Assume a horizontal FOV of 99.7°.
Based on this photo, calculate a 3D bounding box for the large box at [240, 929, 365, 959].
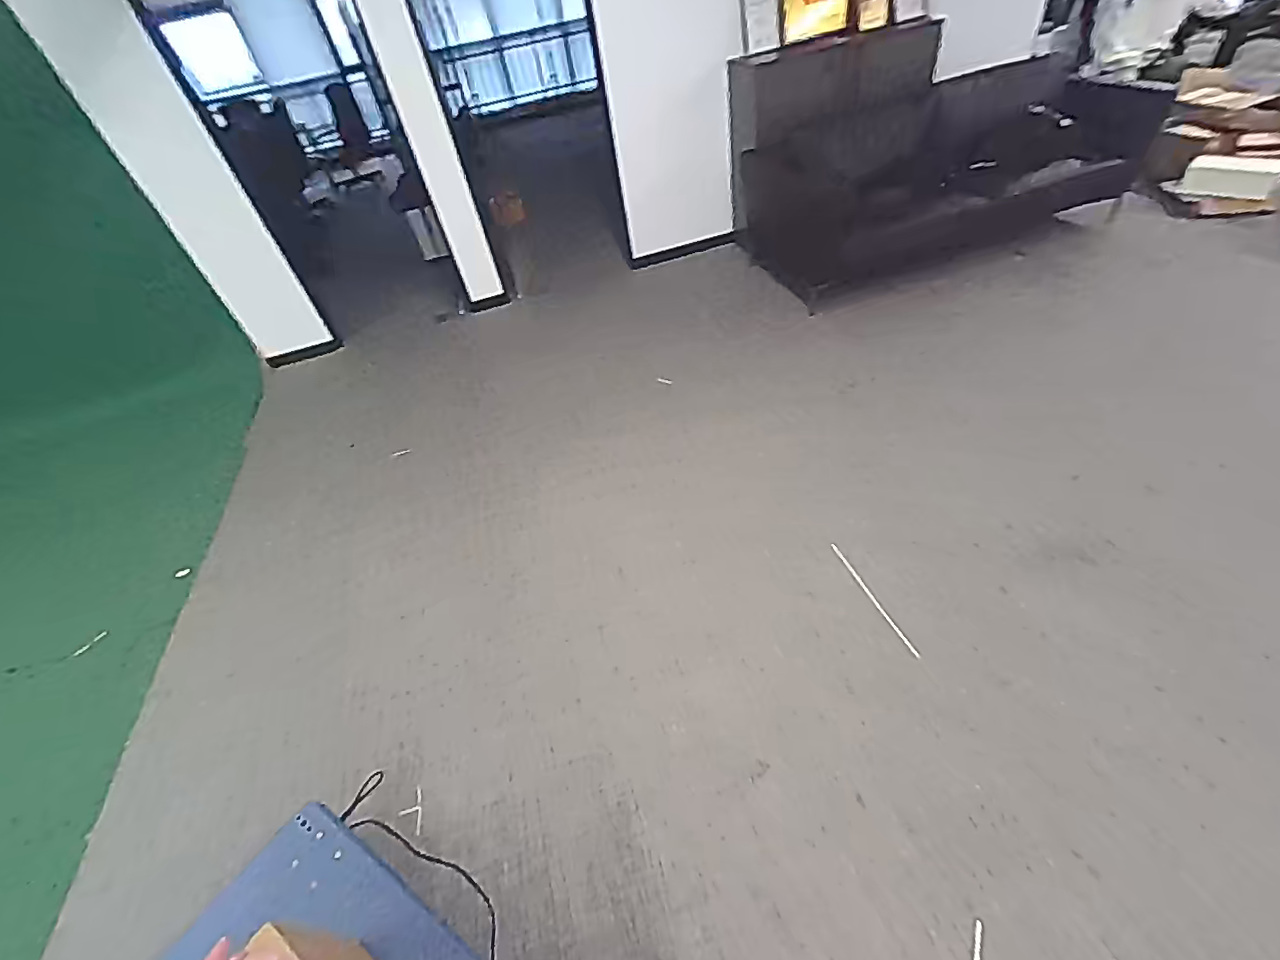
[{"bbox_3d":[-0.559,1.060,0.896,0.408,0.320,0.320,18,50,29],"label":"large box"}]
